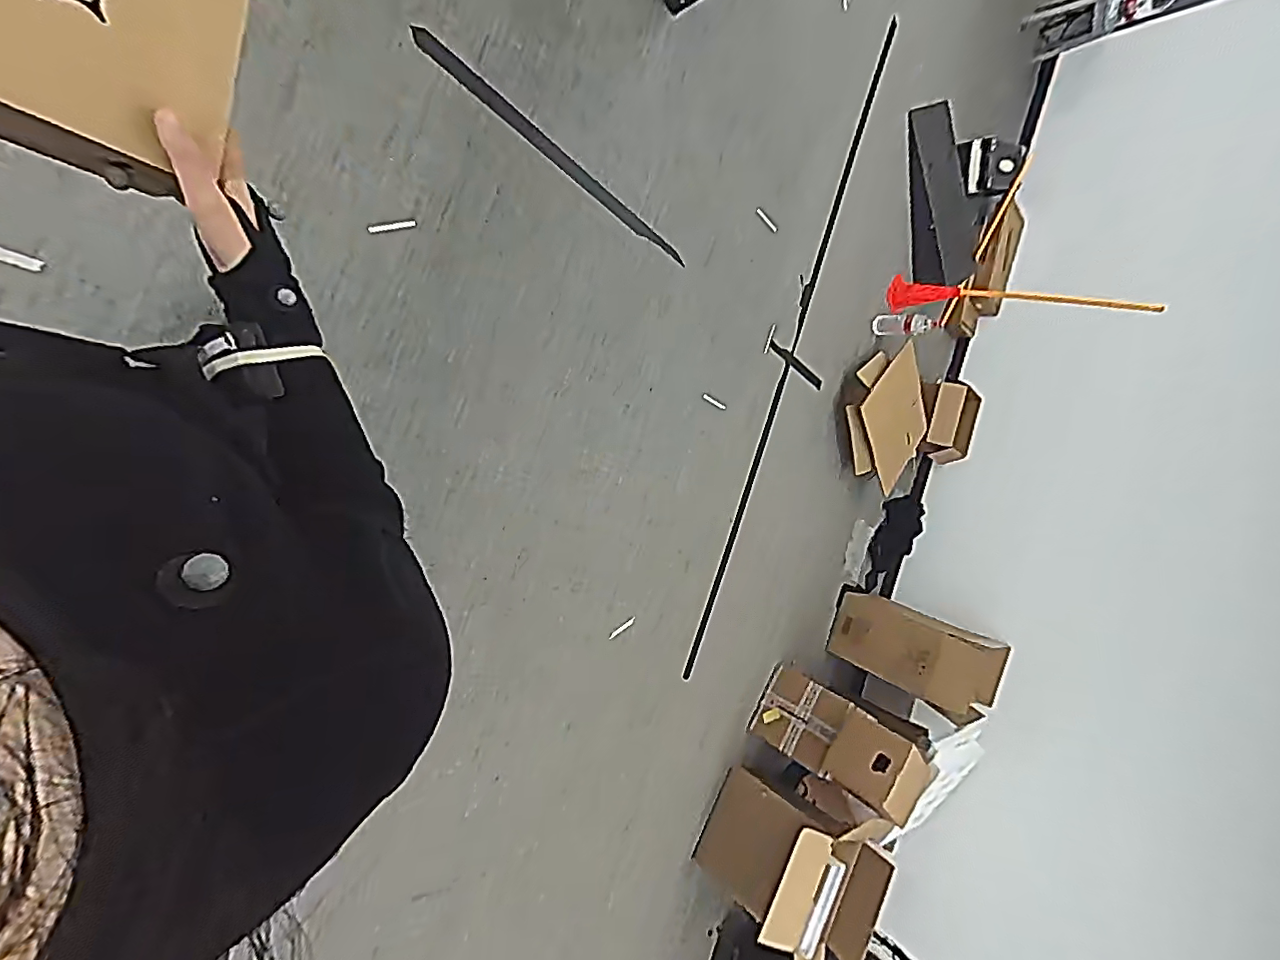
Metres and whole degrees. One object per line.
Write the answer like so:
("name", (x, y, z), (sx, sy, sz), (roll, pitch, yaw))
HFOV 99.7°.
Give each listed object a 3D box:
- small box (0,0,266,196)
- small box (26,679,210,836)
("small box", (-0.398, -0.319, 0.370), (0.179, 0.176, 0.168), (8, 99, -54))
("small box", (-0.852, 0.443, 0.897), (0.179, 0.176, 0.168), (20, 86, -43))
